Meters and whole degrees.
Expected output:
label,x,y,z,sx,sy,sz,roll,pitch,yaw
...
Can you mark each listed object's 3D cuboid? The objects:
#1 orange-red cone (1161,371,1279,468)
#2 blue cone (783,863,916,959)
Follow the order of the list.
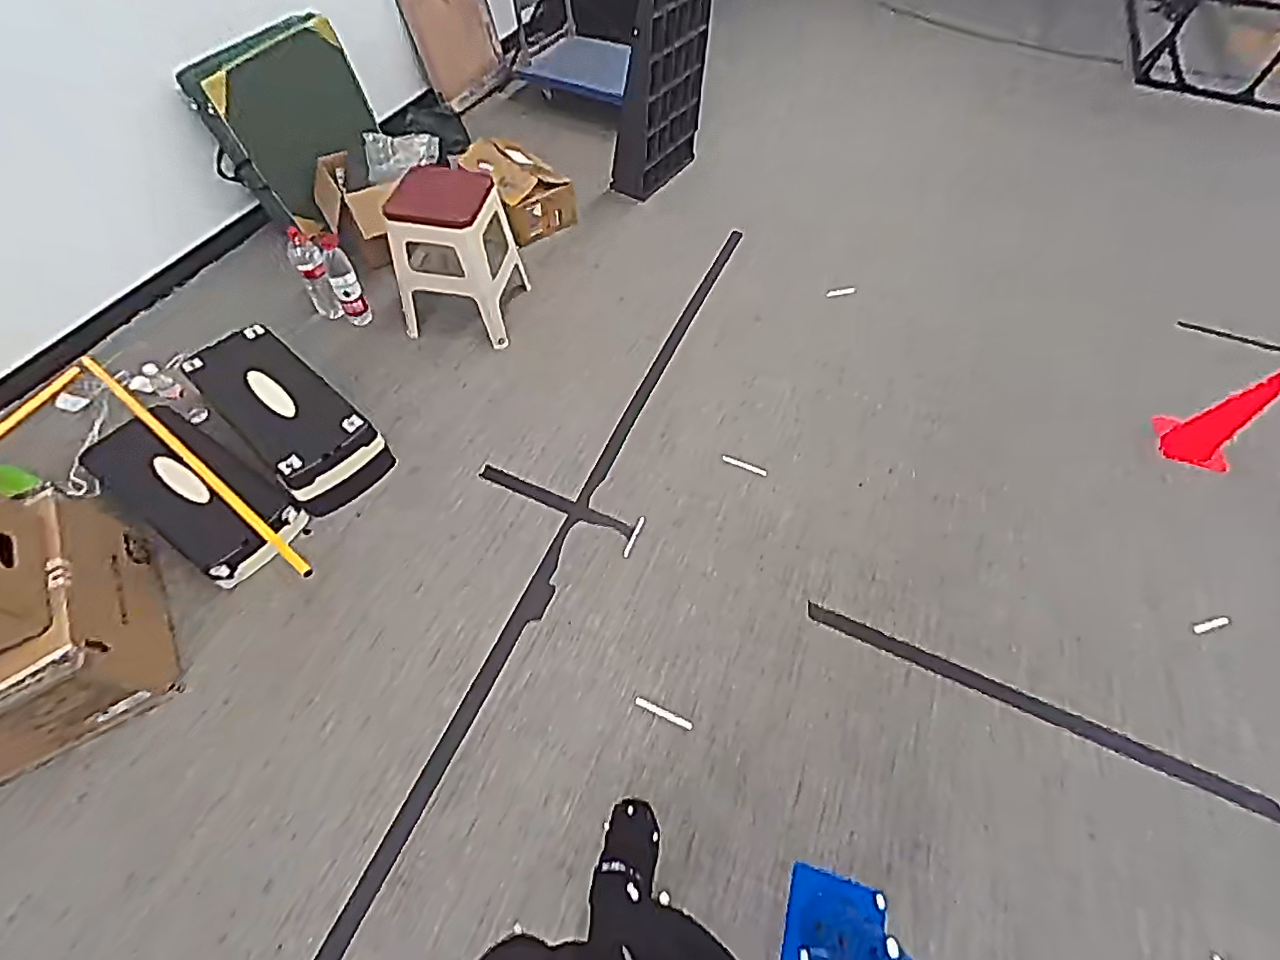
label,x,y,z,sx,sy,sz,roll,pitch,yaw
orange-red cone,1.881,-0.228,1.685,0.199,0.360,0.198,17,58,11
blue cone,0.398,0.833,0.972,0.193,0.380,0.192,17,58,10
